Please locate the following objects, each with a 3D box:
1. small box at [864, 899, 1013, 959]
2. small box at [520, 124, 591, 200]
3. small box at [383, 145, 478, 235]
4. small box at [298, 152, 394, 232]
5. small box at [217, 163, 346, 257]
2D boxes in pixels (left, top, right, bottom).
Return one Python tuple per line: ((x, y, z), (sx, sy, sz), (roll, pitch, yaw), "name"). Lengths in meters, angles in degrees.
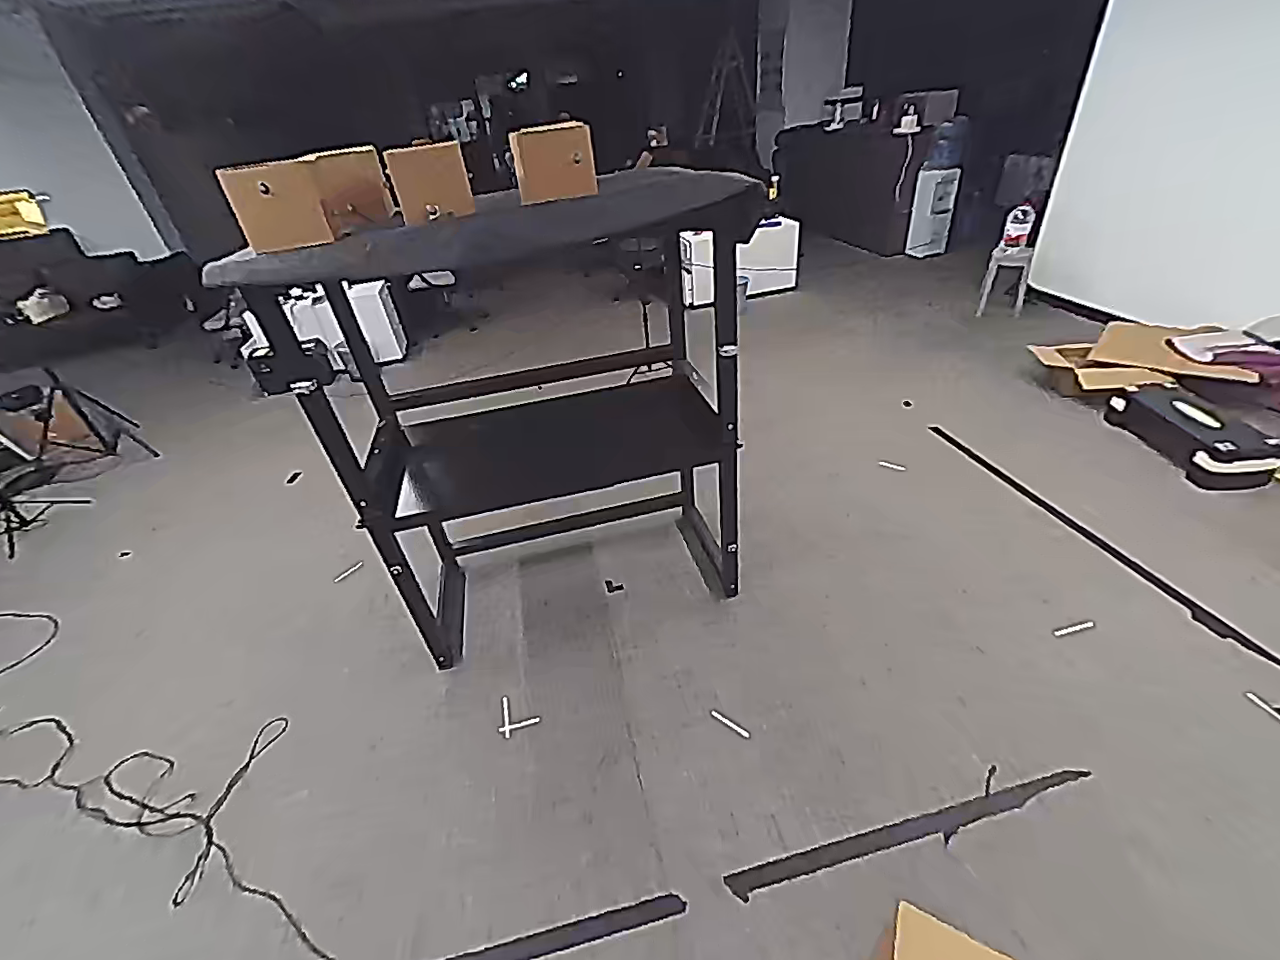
((0.316, 0.601, 0.553), (0.168, 0.176, 0.179), (16, 30, 23), "small box")
((-0.246, -0.930, 1.584), (0.168, 0.176, 0.179), (-14, 36, -8), "small box")
((-0.496, -0.697, 1.300), (0.168, 0.176, 0.179), (-16, 35, -10), "small box")
((-0.802, -0.799, 1.498), (0.179, 0.176, 0.168), (-13, 36, -10), "small box")
((-0.817, -0.625, 1.252), (0.179, 0.176, 0.168), (-14, 35, -11), "small box")
